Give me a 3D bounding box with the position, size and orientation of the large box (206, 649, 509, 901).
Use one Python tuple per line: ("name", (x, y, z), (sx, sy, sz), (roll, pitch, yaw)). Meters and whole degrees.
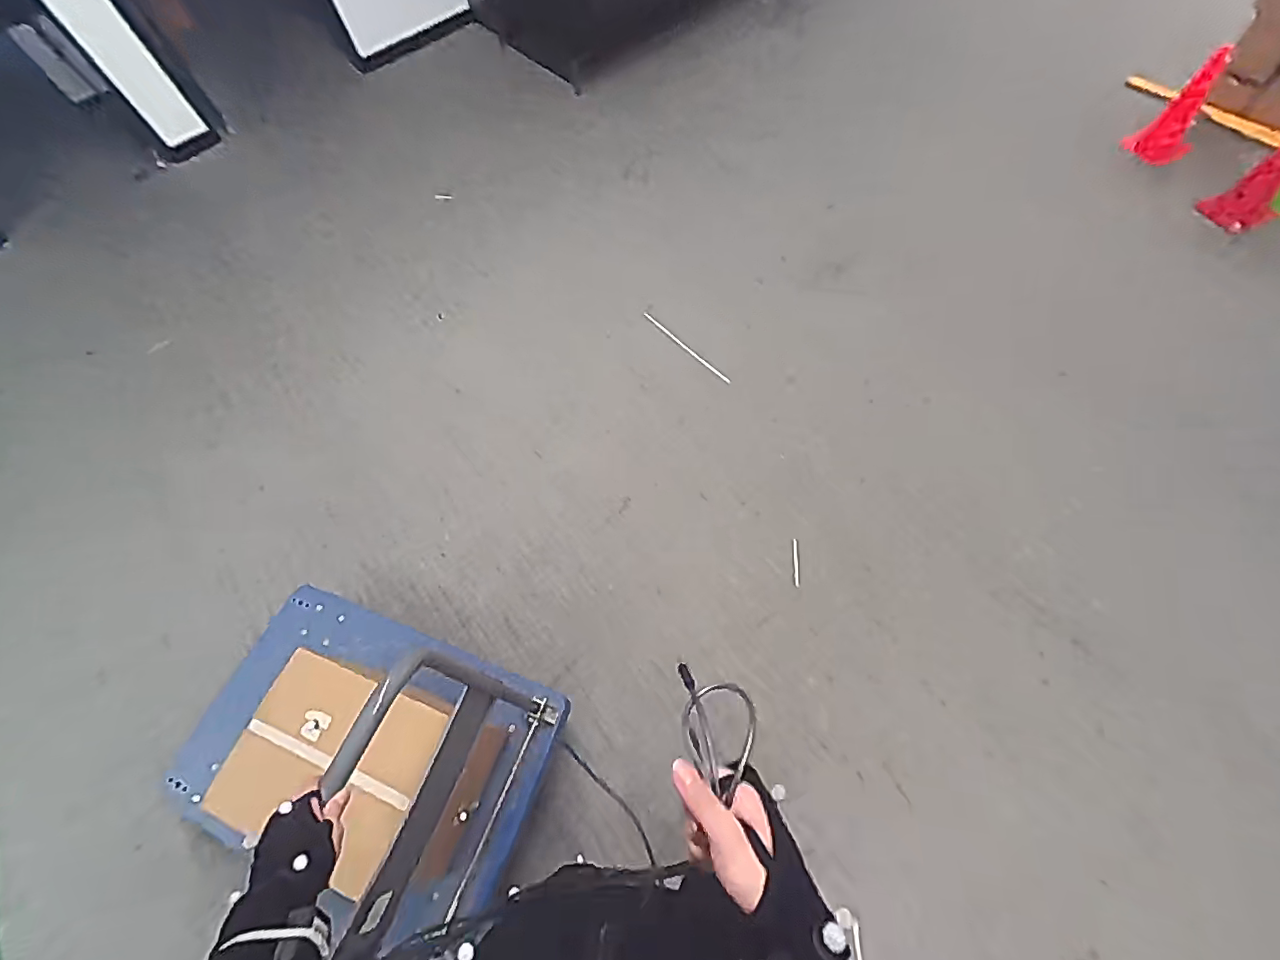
("large box", (-0.560, 0.599, 1.149), (0.408, 0.320, 0.320), (16, 65, 17))
